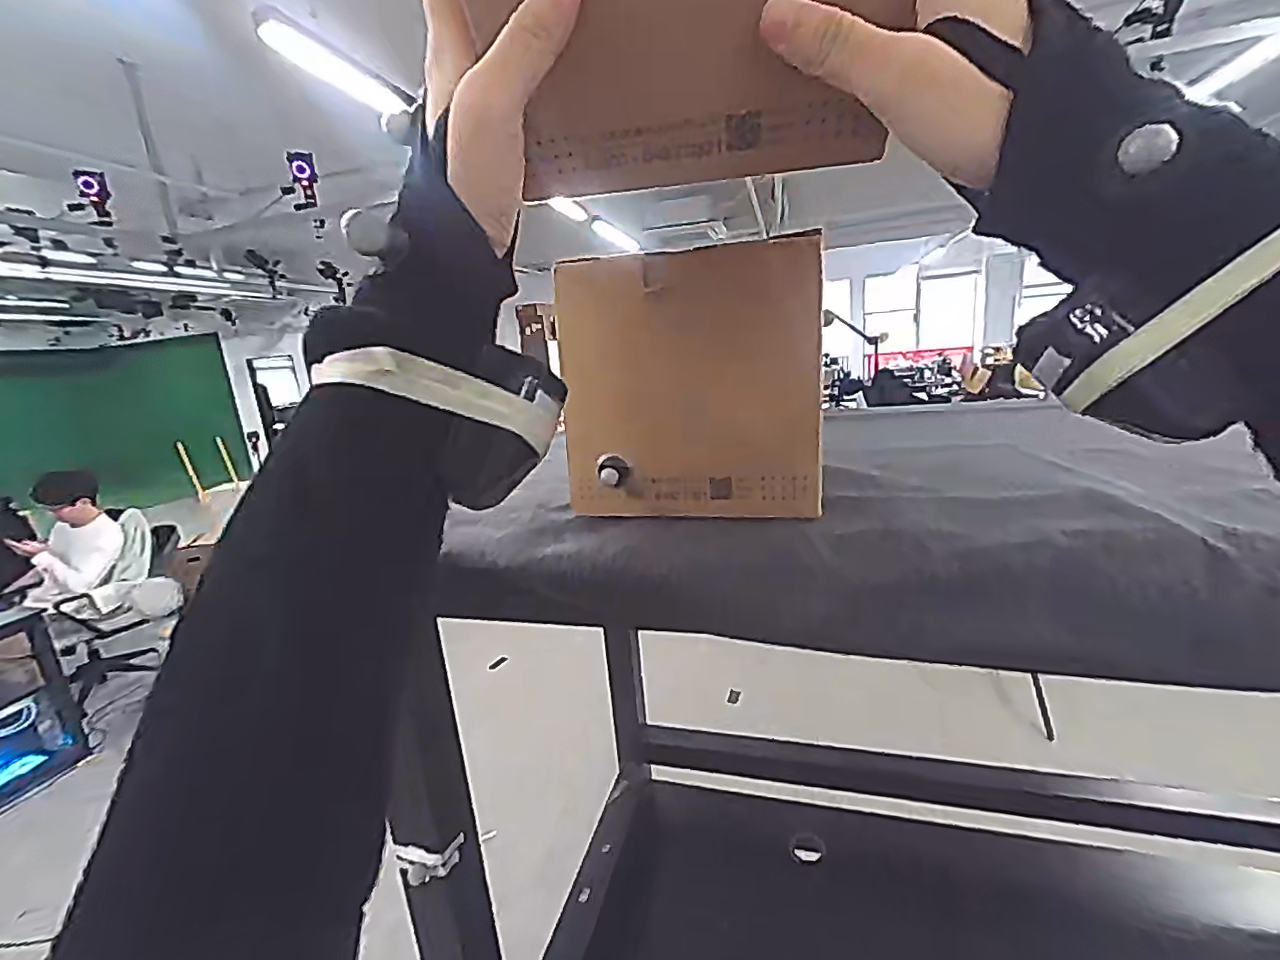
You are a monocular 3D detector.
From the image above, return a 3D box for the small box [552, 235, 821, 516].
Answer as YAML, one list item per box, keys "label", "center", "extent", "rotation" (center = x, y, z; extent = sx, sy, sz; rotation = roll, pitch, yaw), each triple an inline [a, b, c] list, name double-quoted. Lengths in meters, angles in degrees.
- label: "small box"
  center: [0.048, -0.072, 0.417]
  extent: [0.168, 0.176, 0.179]
  rotation: [0, 12, 14]
